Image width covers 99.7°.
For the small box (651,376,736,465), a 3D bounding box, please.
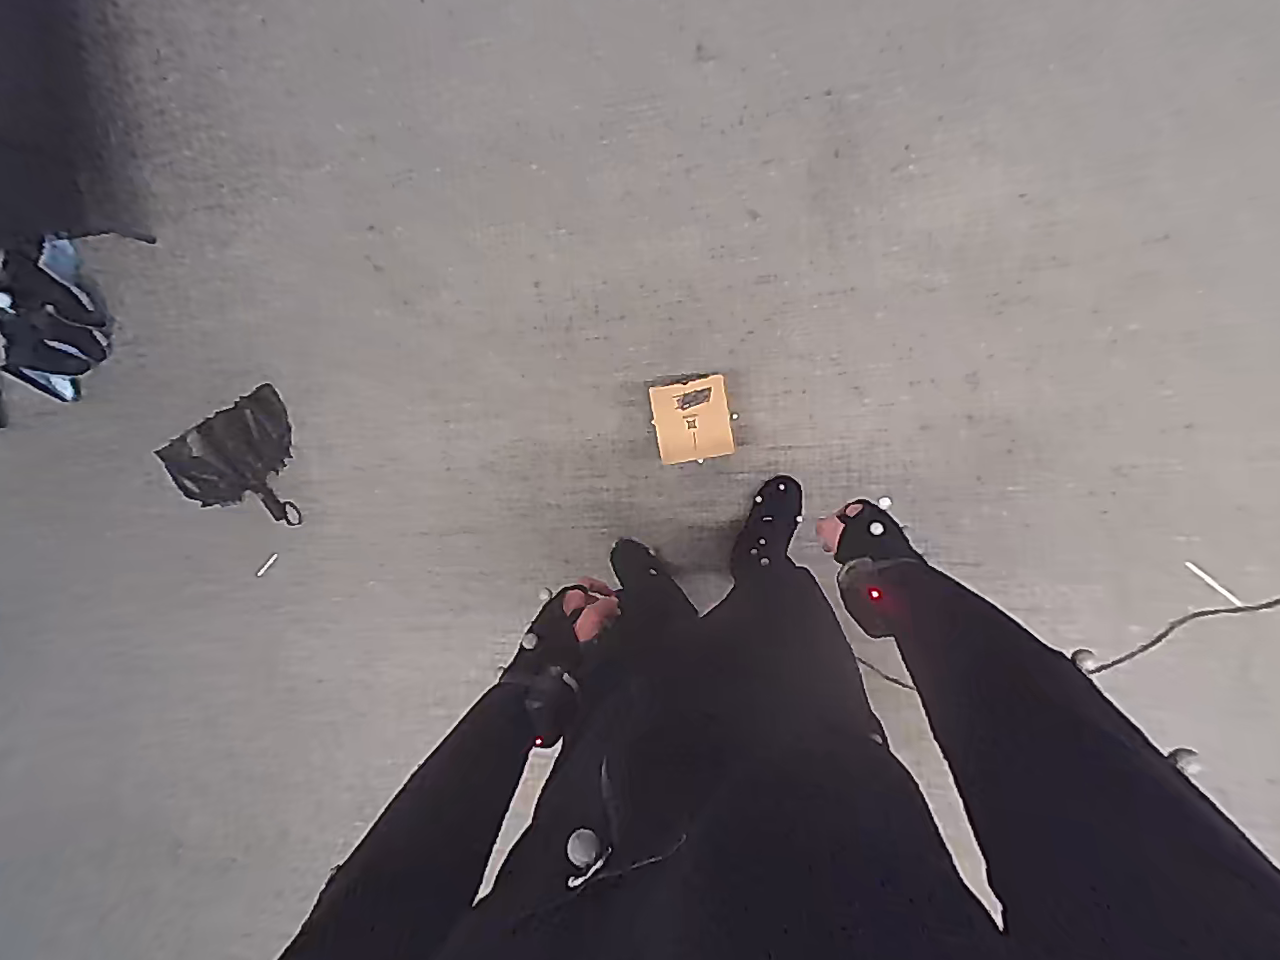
[{"bbox_3d":[0.129,-0.137,1.260,0.168,0.176,0.179,-9,96,13],"label":"small box"}]
